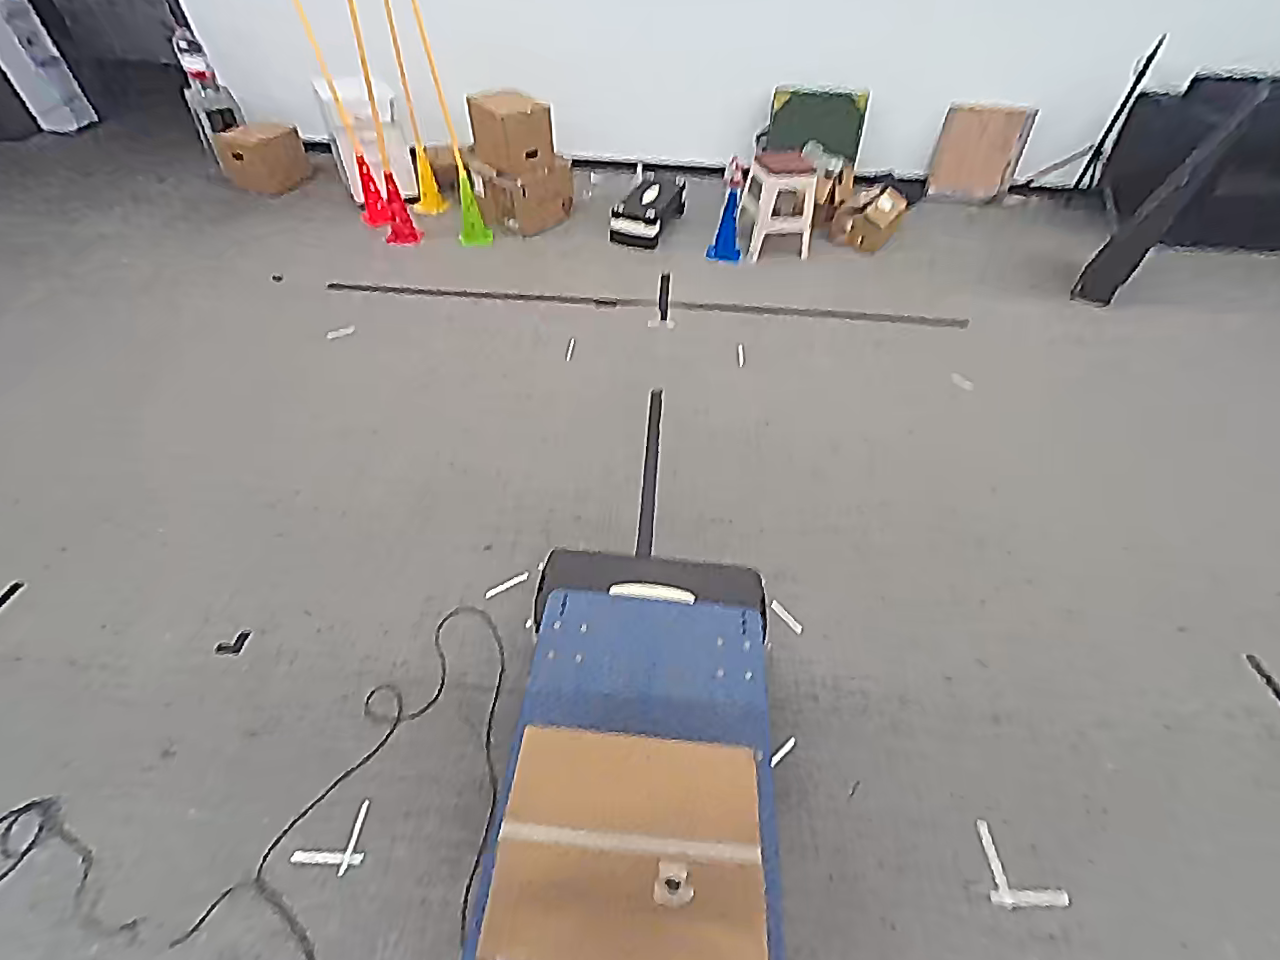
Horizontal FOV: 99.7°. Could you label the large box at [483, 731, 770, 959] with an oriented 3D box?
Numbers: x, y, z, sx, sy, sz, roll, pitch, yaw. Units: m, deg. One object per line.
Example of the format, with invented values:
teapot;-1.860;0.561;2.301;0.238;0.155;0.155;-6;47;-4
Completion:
large box;-0.020;0.666;0.943;0.408;0.320;0.320;5;48;1
